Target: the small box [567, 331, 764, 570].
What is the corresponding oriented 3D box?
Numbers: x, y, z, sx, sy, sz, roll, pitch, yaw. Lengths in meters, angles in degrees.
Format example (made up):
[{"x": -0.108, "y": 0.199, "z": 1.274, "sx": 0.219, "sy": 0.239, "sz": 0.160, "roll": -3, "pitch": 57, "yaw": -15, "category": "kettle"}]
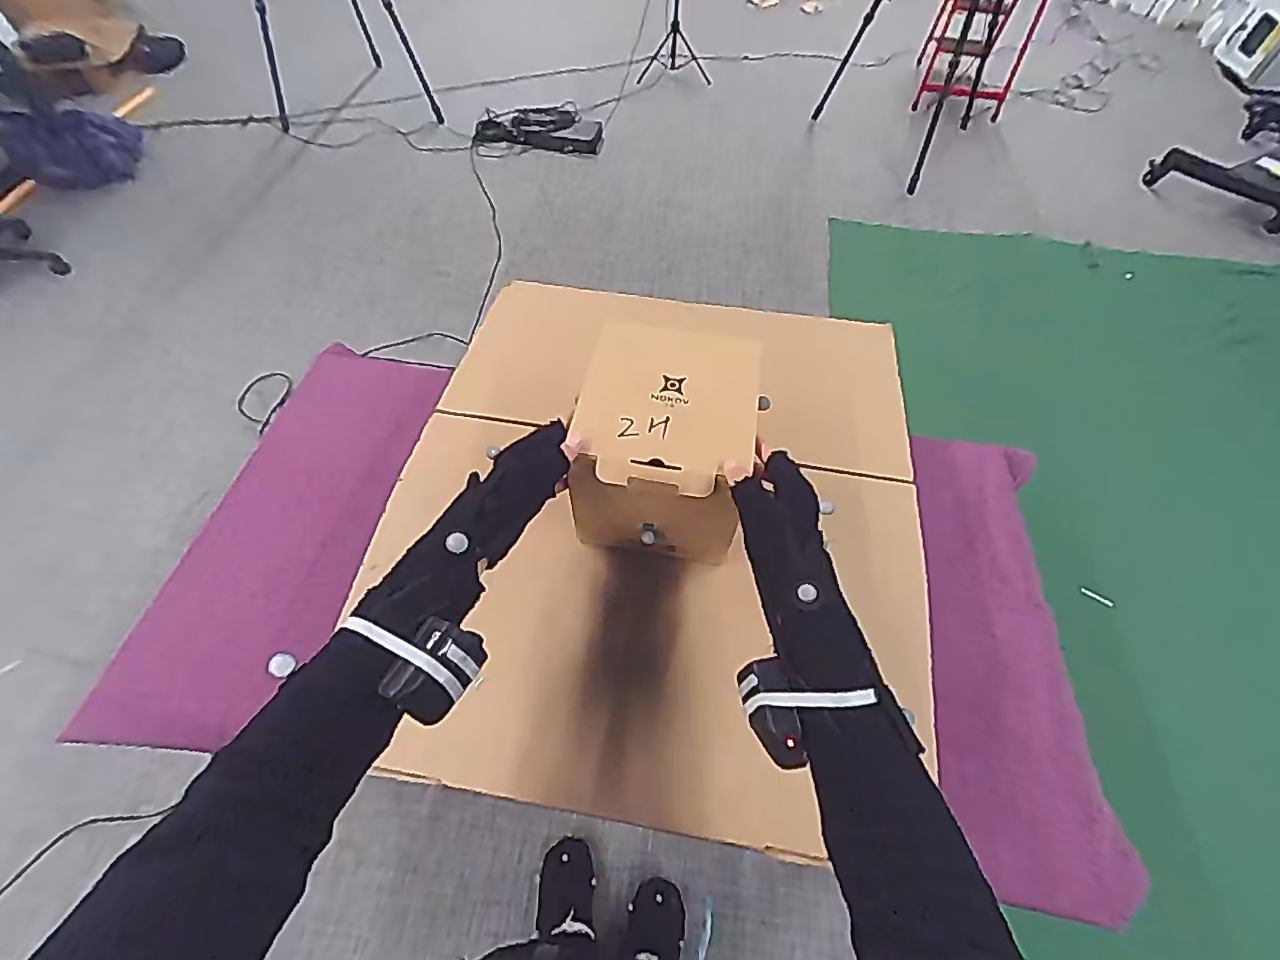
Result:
[{"x": 0.029, "y": -0.028, "z": 0.576, "sx": 0.168, "sy": 0.176, "sz": 0.179, "roll": 9, "pitch": 57, "yaw": 6, "category": "small box"}]
